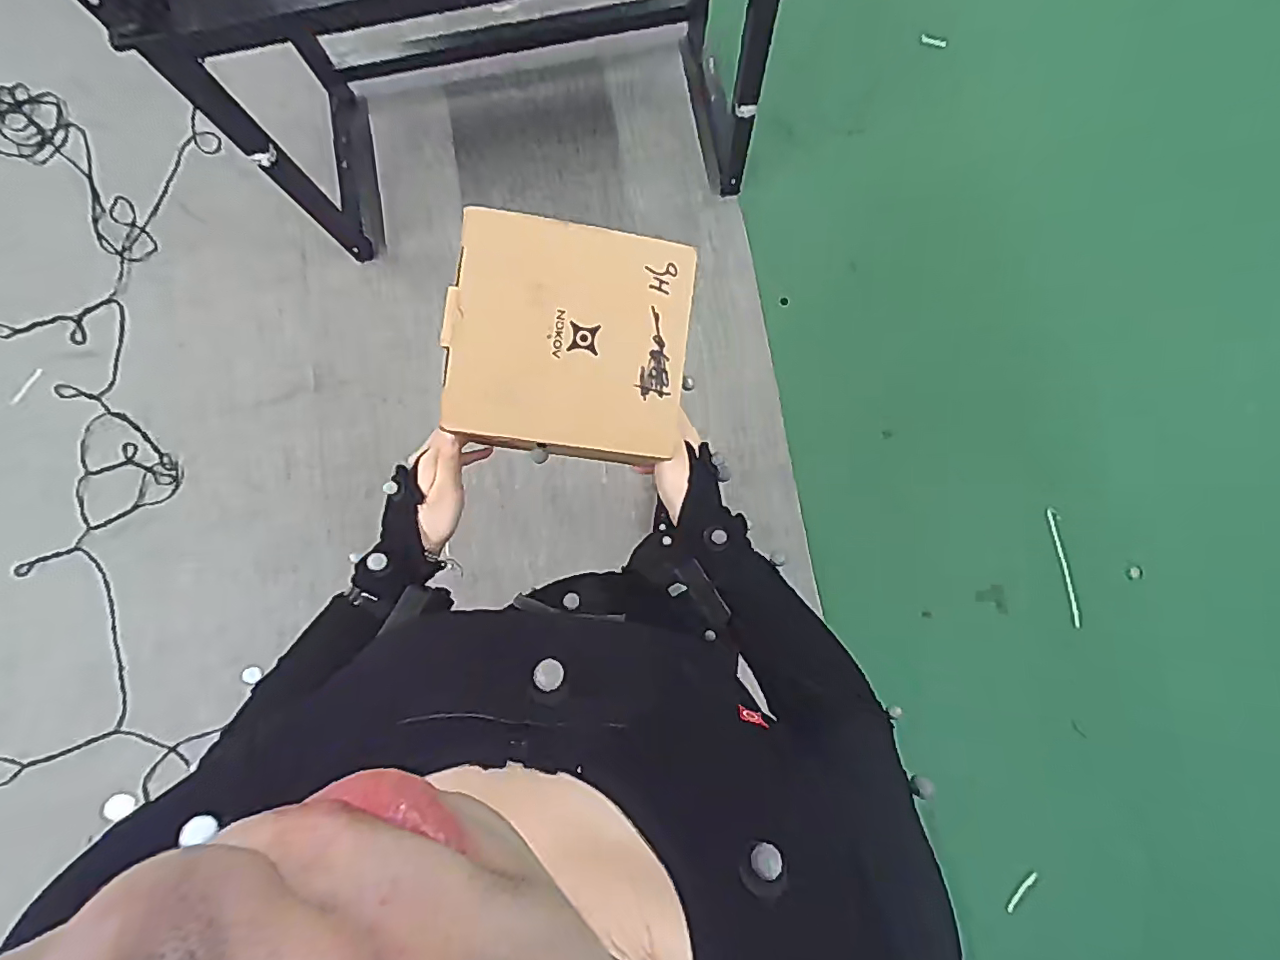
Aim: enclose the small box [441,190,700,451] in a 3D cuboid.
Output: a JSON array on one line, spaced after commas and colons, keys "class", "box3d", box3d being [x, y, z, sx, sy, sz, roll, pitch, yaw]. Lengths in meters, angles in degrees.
[{"class": "small box", "box3d": [-0.059, -0.120, 0.481, 0.179, 0.176, 0.168, 7, 89, -8]}]
